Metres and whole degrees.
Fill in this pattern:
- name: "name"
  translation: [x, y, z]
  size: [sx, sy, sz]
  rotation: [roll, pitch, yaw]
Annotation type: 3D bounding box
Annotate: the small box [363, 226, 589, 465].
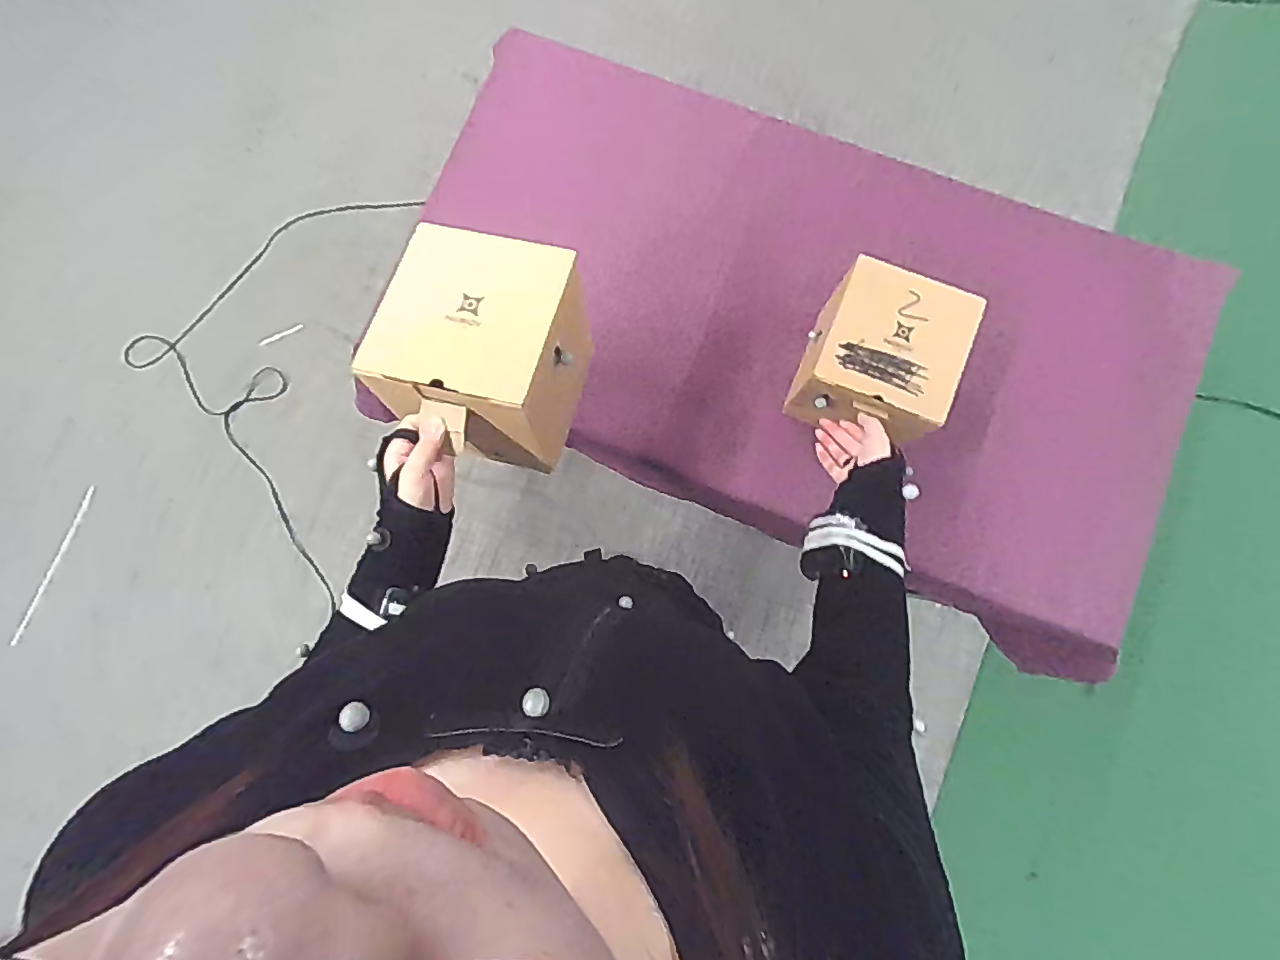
- name: "small box"
  translation: [-0.159, -0.138, 0.596]
  size: [0.168, 0.176, 0.179]
  rotation: [13, 72, 6]
